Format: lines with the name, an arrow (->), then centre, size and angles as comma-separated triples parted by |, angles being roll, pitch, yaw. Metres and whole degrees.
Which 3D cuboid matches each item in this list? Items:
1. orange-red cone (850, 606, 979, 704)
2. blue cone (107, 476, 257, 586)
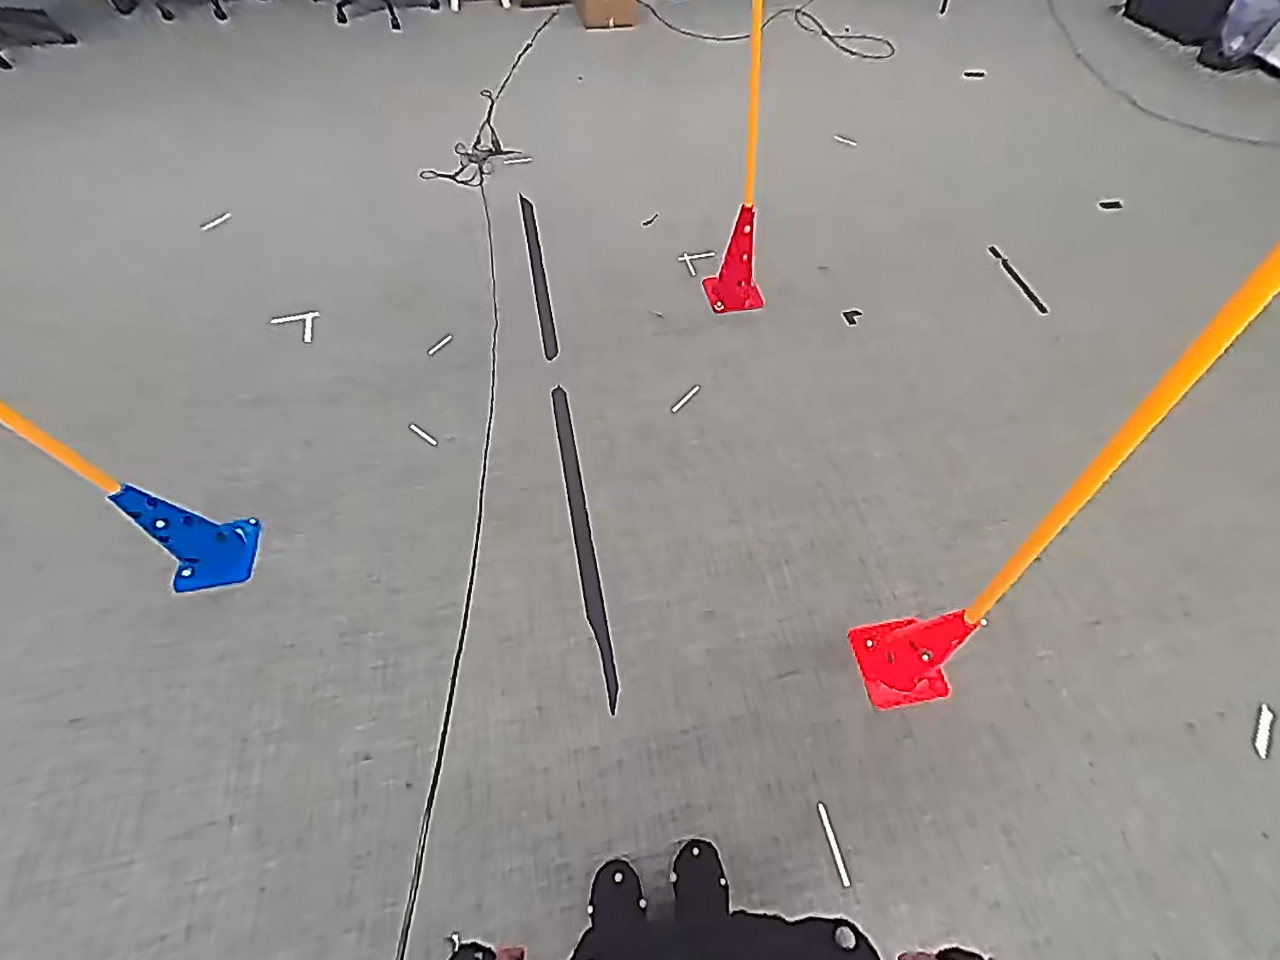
orange-red cone -> 0.641, 0.354, 1.196 | 0.198, 0.360, 0.199 | -8, 59, -4
blue cone -> -1.181, 0.112, 1.371 | 0.193, 0.380, 0.192 | -8, 58, -5
